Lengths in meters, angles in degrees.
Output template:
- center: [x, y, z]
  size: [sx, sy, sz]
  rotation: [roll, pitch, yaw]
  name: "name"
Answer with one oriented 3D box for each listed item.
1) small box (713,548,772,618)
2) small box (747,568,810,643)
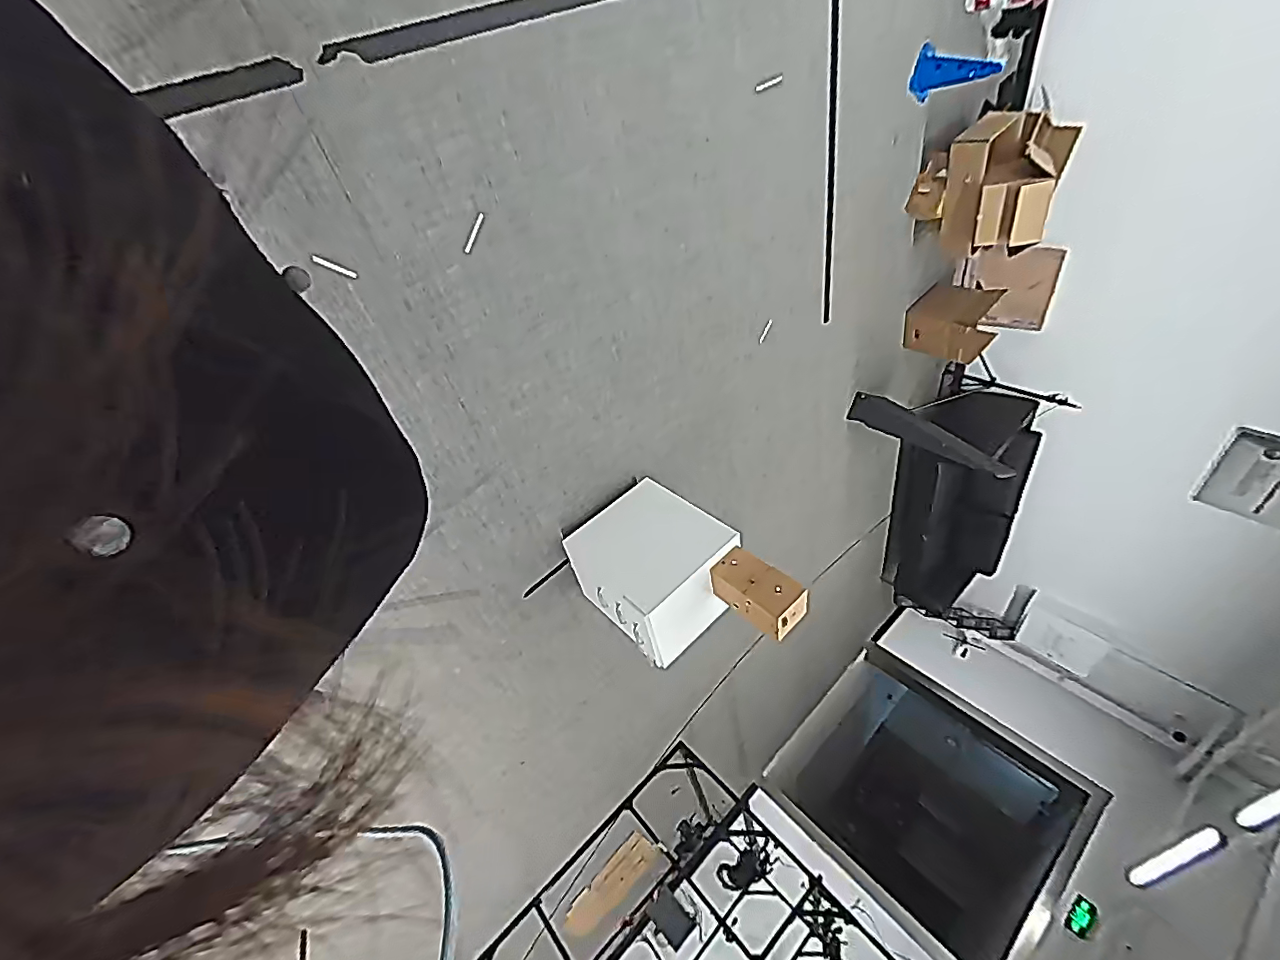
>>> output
- center: [0.409, 0.402, 2.143]
  size: [0.168, 0.176, 0.179]
  rotation: [-37, 137, -22]
  name: "small box"
- center: [0.516, 0.467, 2.035]
  size: [0.179, 0.176, 0.168]
  rotation: [-37, 137, -23]
  name: "small box"
